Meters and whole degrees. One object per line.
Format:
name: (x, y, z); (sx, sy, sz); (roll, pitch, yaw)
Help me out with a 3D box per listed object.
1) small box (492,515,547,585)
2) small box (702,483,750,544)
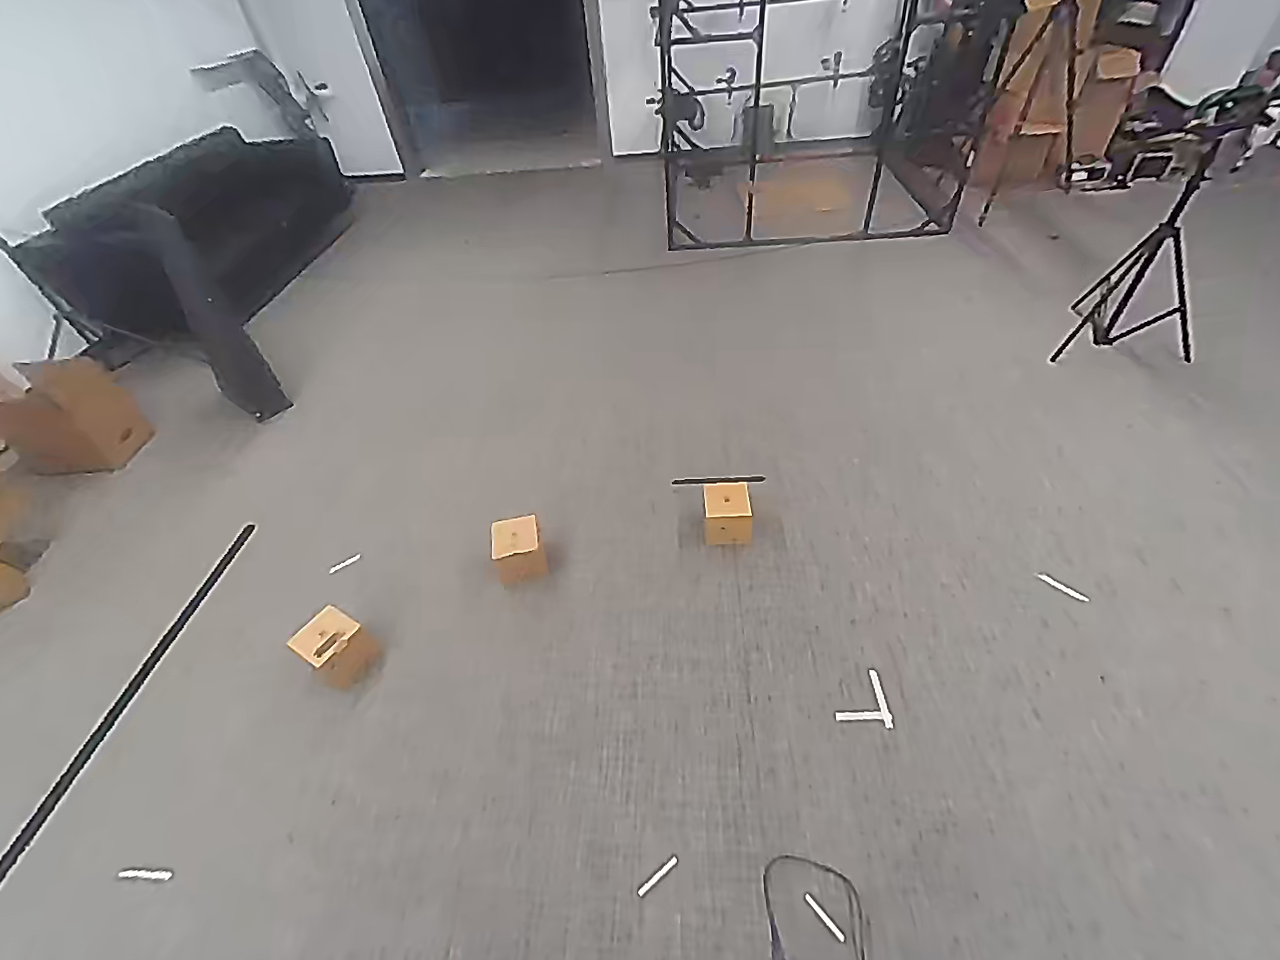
small box: (-0.448, 0.261, 2.014); (0.168, 0.176, 0.179); (-11, 45, -5)
small box: (0.326, 0.133, 2.059); (0.168, 0.176, 0.179); (-3, 44, 4)
